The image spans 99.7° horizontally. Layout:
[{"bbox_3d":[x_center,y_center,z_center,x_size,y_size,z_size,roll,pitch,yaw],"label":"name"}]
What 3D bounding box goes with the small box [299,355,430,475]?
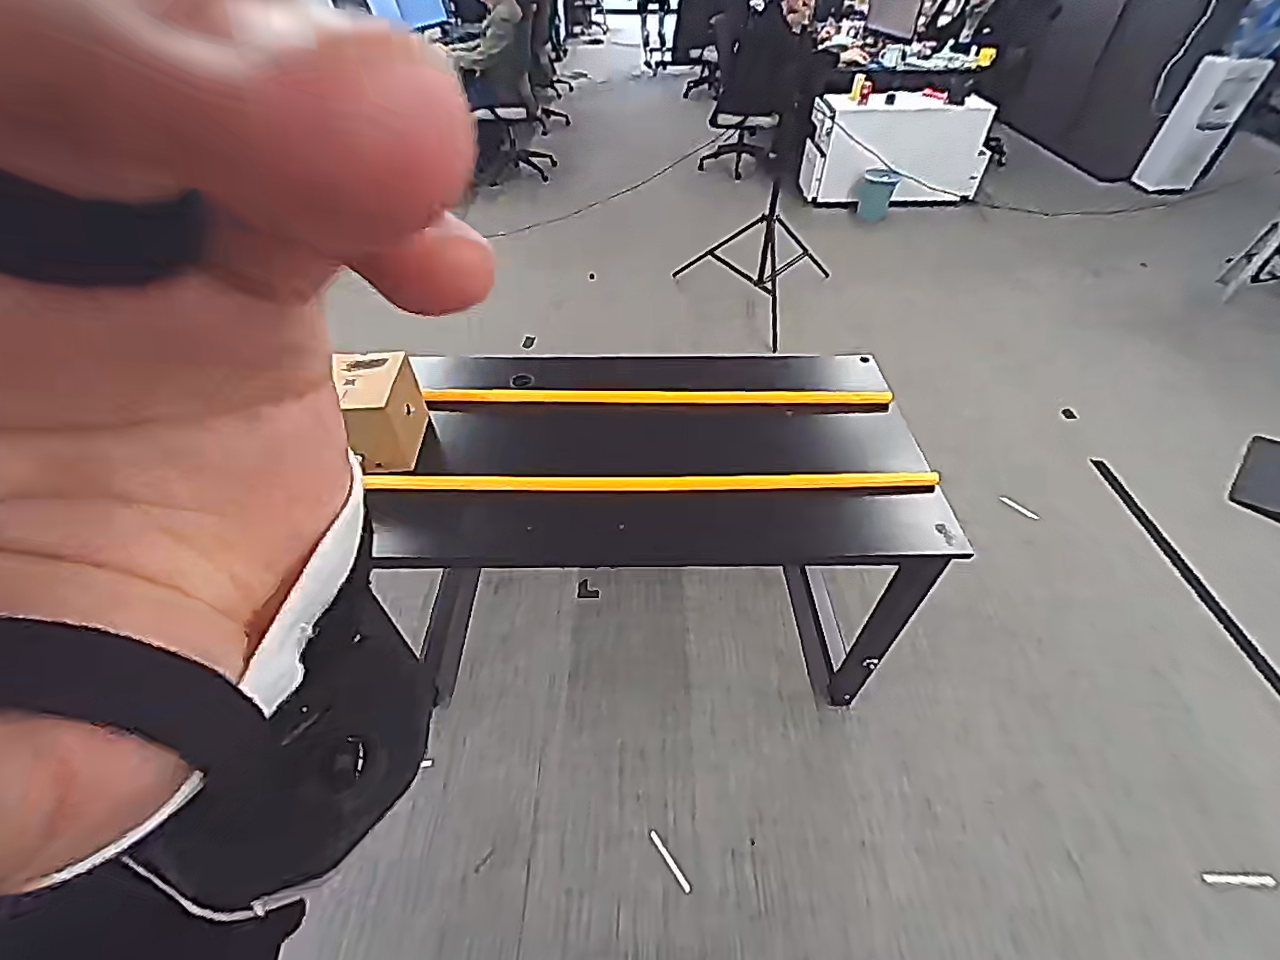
[{"bbox_3d":[-0.534,-0.130,1.080,0.168,0.176,0.179,-3,48,-3],"label":"small box"}]
